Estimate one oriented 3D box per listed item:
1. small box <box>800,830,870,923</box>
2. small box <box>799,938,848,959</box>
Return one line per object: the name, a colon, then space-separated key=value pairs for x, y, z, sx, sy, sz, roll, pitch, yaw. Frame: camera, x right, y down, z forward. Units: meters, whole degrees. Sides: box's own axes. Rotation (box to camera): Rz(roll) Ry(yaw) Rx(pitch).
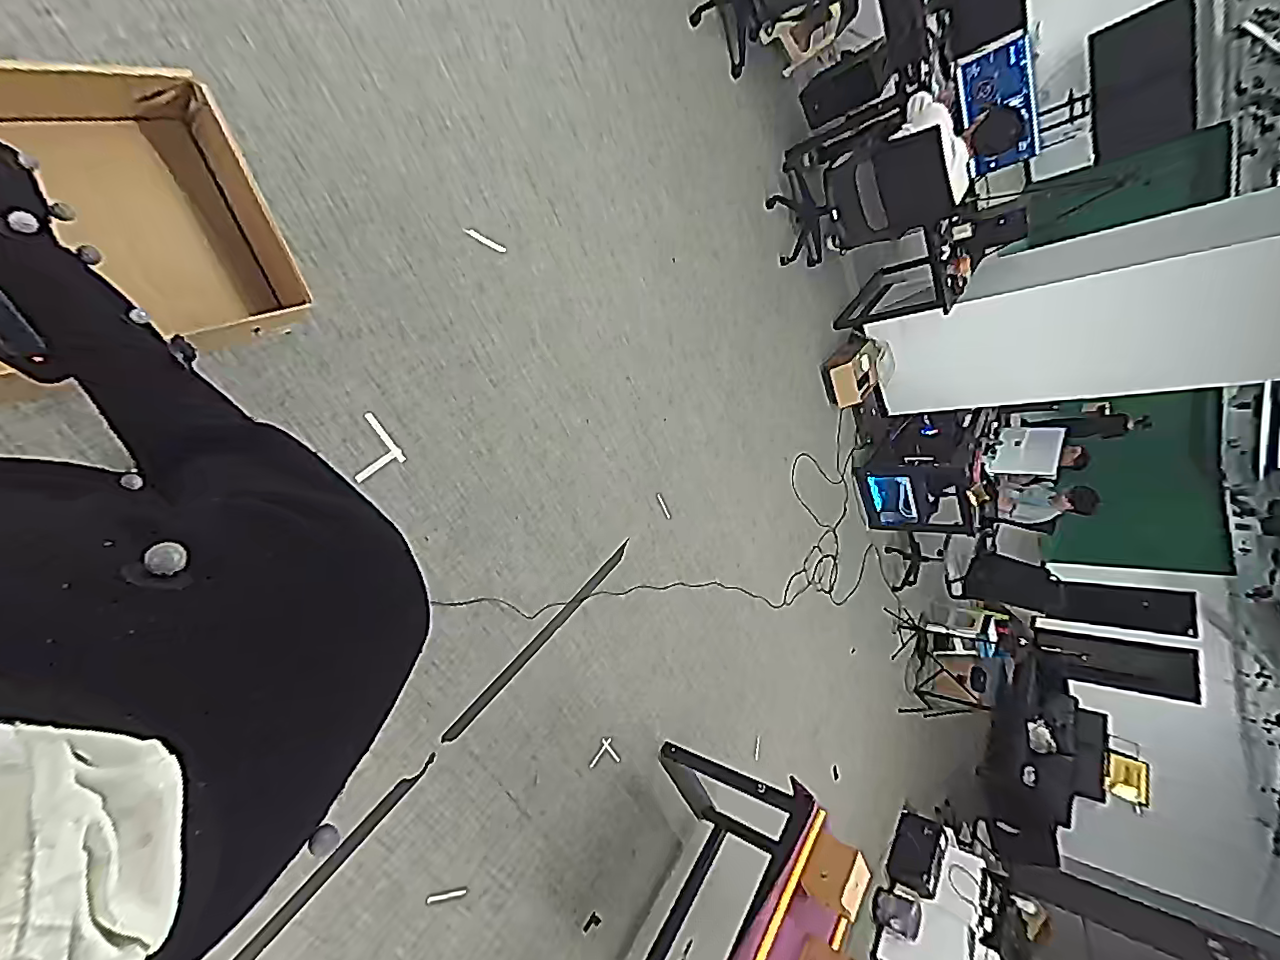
small box: x=0.690 y=1.407 z=1.926 sx=0.179 sy=0.176 sz=0.168 roll=-44 pitch=120 yaw=-34
small box: x=0.656 y=1.761 z=1.887 sx=0.168 sy=0.176 sz=0.179 roll=-44 pitch=117 yaw=-37
